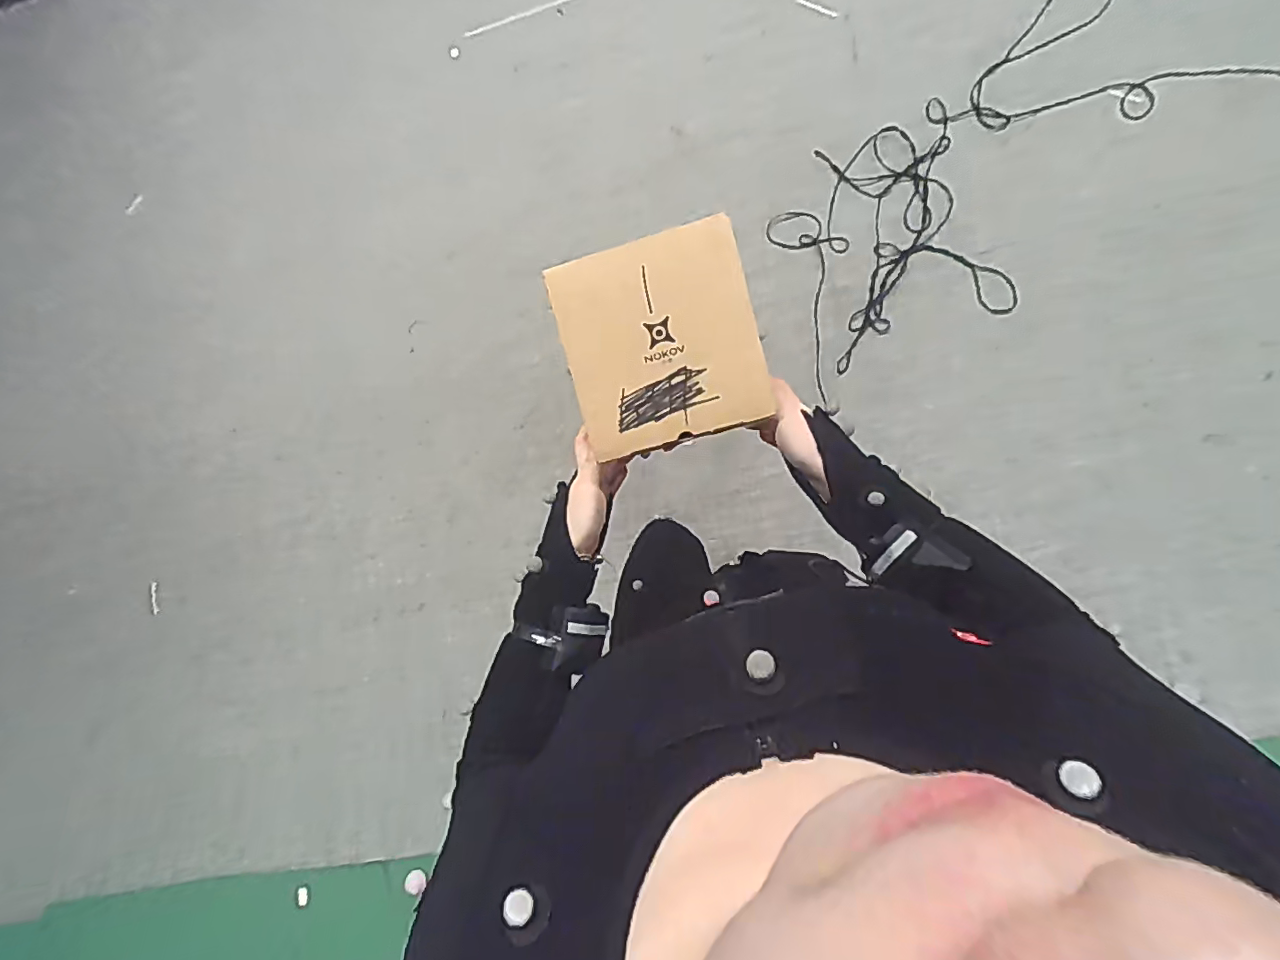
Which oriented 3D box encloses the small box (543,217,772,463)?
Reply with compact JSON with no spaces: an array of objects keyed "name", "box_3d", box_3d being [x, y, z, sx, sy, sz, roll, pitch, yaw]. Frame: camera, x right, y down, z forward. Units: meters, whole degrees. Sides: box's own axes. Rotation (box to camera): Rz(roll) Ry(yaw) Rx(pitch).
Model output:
[{"name":"small box","box_3d":[0.023,-0.127,0.541,0.168,0.176,0.179,-15,96,6]}]
